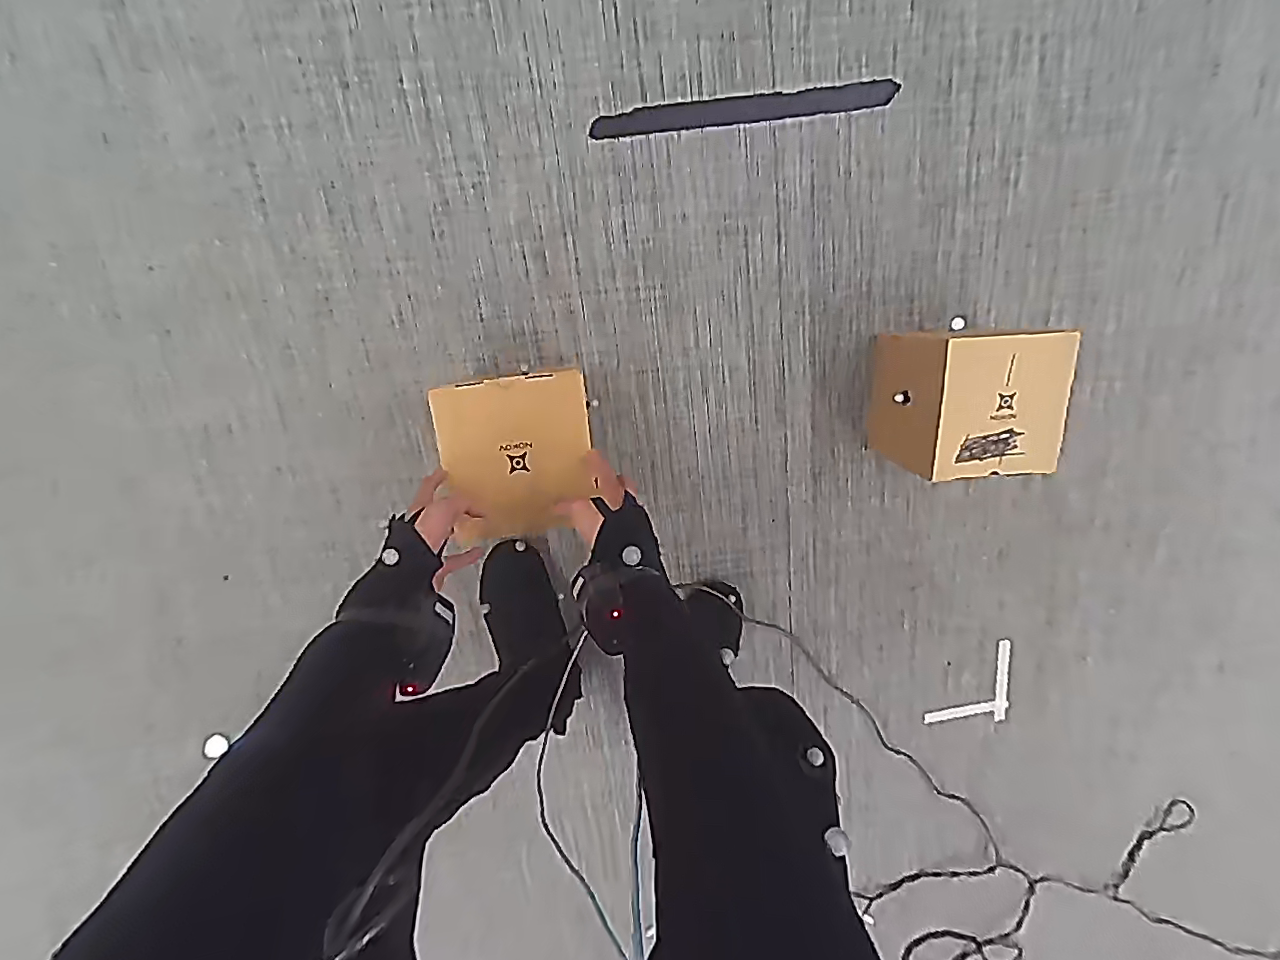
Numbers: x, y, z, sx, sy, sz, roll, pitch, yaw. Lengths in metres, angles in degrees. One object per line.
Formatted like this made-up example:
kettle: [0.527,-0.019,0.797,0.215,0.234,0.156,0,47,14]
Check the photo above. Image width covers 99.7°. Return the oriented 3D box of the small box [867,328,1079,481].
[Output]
small box: [0.424,-0.108,0.722,0.168,0.176,0.179,-4,107,-4]

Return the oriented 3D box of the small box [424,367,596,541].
small box: [-0.145,-0.042,0.662,0.168,0.176,0.179,-7,103,-5]
